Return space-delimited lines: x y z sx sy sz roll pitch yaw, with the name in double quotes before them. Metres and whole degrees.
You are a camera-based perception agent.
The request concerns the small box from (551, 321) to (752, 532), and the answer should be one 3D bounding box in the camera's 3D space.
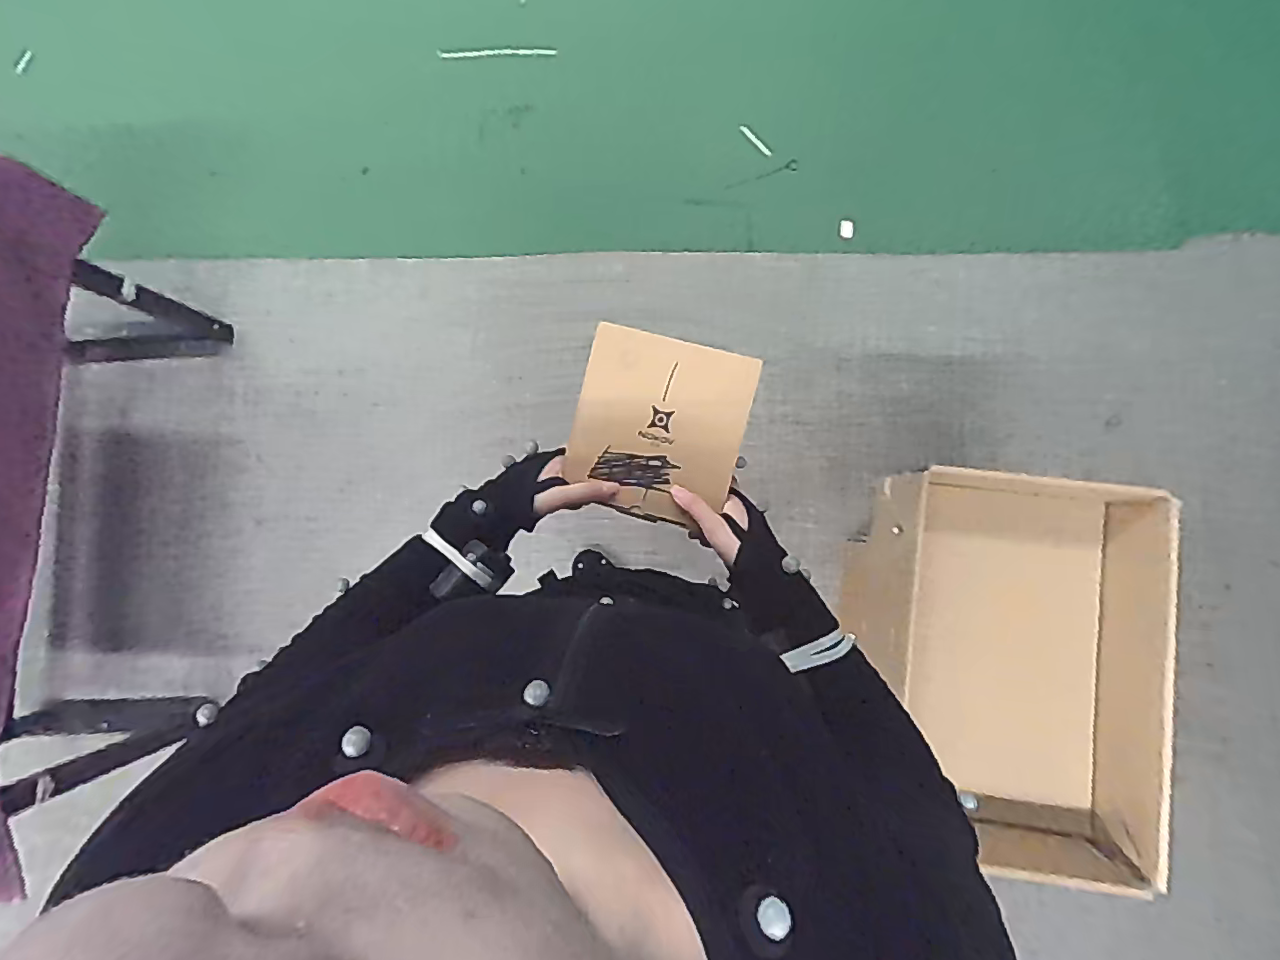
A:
"small box" 0.016 -0.056 0.608 0.168 0.176 0.179 15 93 3
